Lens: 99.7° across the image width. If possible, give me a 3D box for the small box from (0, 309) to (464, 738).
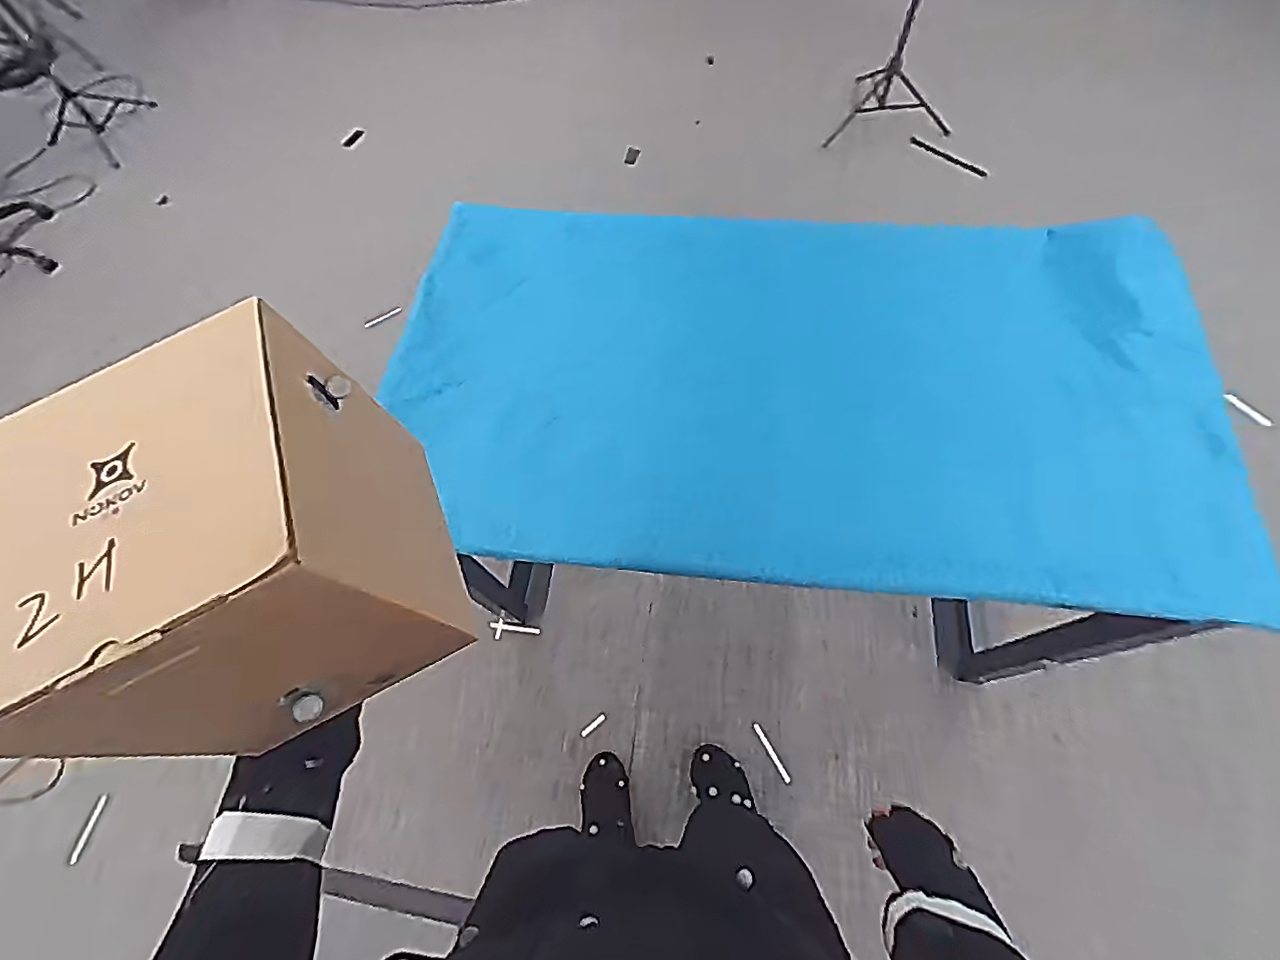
[{"bbox_3d":[-0.231,0.041,0.325,0.168,0.176,0.179,-24,64,1],"label":"small box"}]
